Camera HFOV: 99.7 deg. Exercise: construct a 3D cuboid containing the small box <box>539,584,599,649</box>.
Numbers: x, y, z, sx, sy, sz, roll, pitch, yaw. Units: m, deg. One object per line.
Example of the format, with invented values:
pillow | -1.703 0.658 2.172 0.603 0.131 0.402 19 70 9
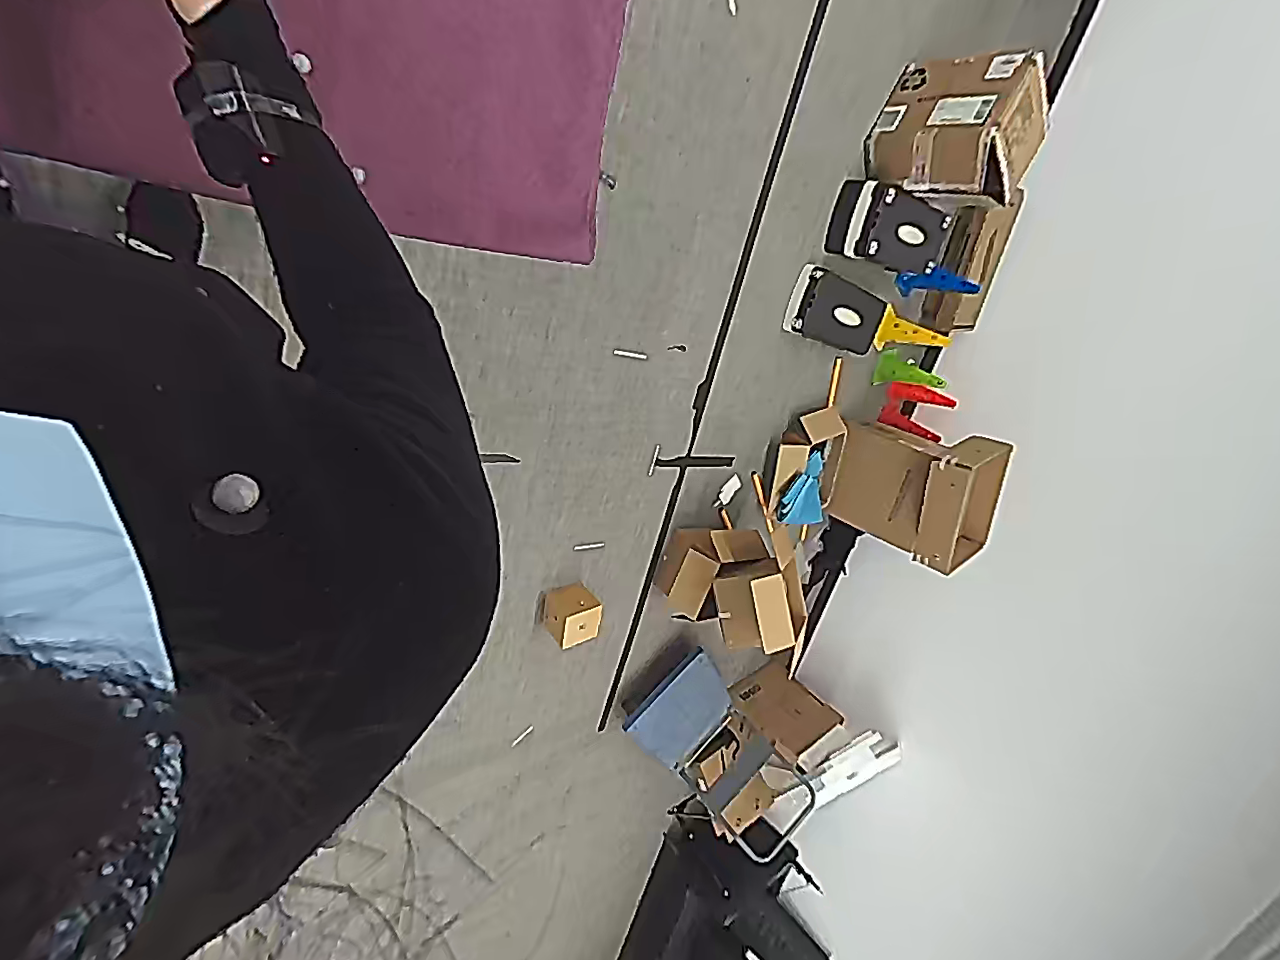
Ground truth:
small box | -0.294 0.551 2.210 0.179 0.176 0.168 -11 122 -39
